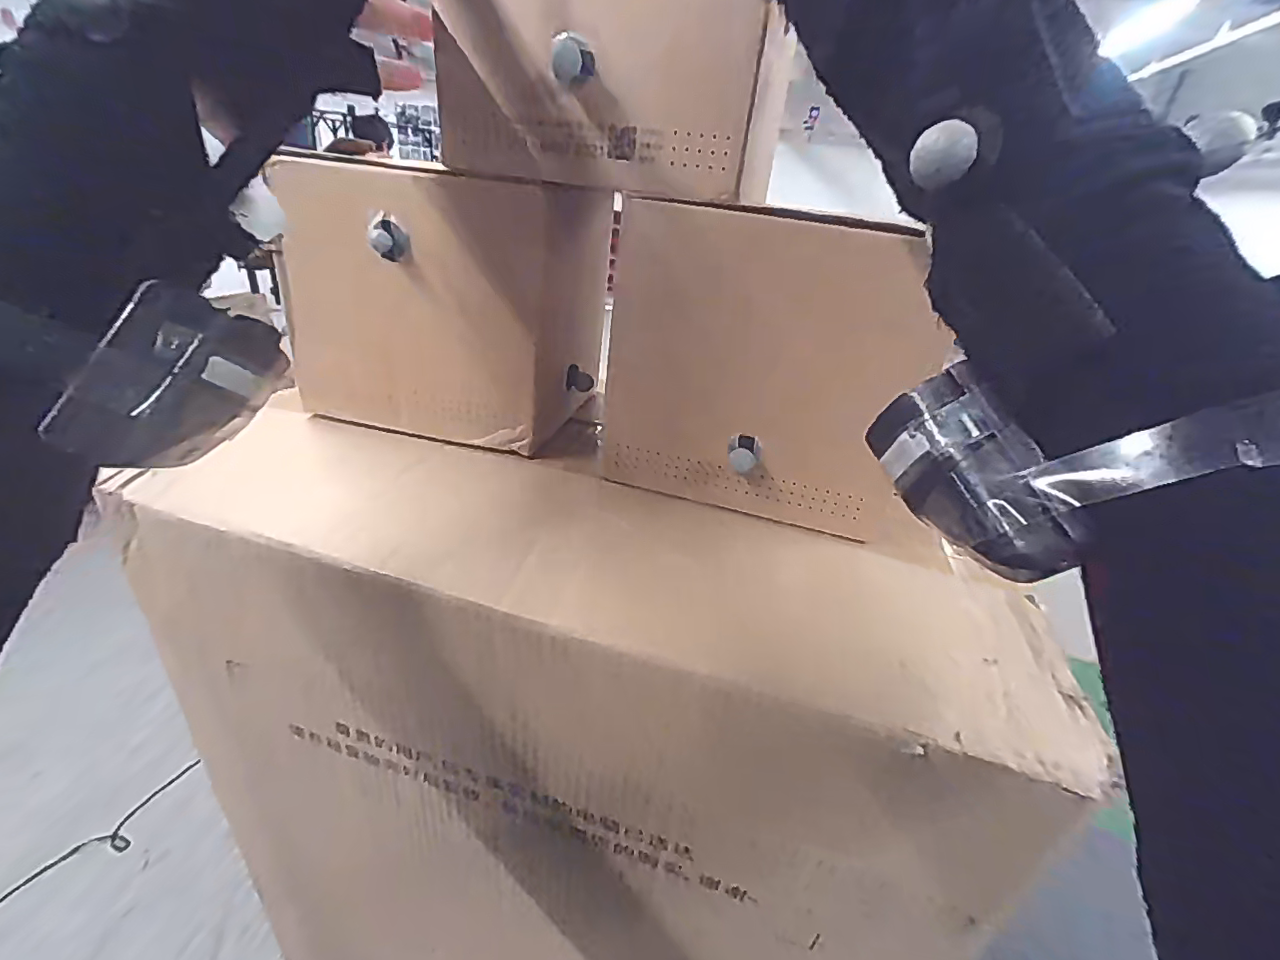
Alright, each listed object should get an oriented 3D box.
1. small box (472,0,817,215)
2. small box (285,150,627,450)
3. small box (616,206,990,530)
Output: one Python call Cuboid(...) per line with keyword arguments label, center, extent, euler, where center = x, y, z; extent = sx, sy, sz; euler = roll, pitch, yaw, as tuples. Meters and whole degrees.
Cuboid(label="small box", center=(0.010, -0.259, 0.321), extent=(0.168, 0.176, 0.179), euler=(13, 30, 11))
Cuboid(label="small box", center=(-0.120, -0.136, 0.411), extent=(0.179, 0.176, 0.168), euler=(12, 29, 7))
Cuboid(label="small box", center=(0.093, -0.085, 0.372), extent=(0.179, 0.176, 0.168), euler=(12, 28, 10))
